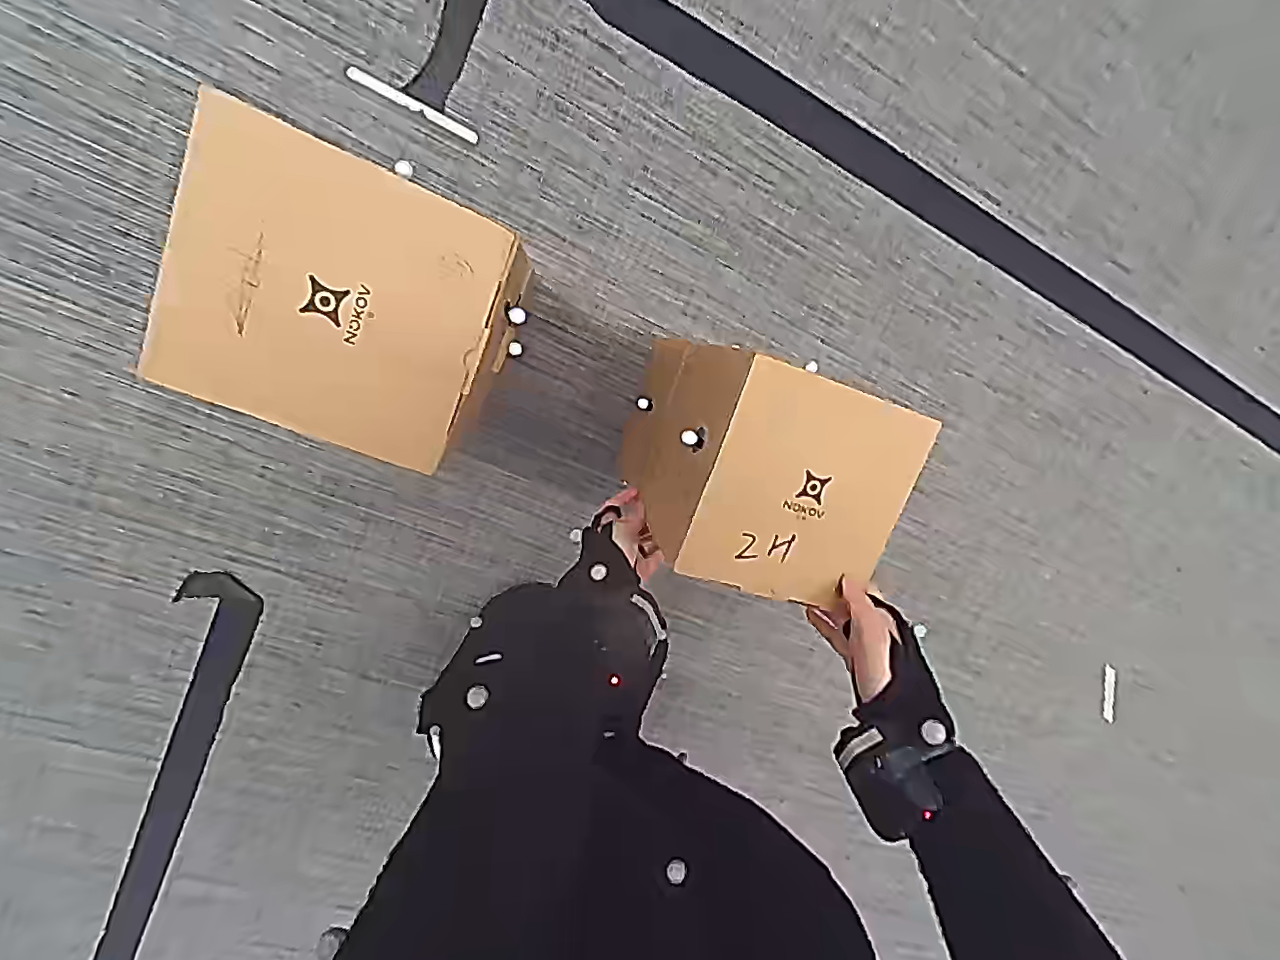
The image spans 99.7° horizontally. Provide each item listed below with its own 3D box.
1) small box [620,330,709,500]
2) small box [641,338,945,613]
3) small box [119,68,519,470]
[{"bbox_3d":[0.082,-0.064,0.628,0.168,0.176,0.179,15,103,-15],"label":"small box"},{"bbox_3d":[0.111,-0.016,0.474,0.168,0.176,0.179,17,104,-15],"label":"small box"},{"bbox_3d":[-0.194,-0.130,0.383,0.179,0.176,0.168,21,102,-15],"label":"small box"}]
